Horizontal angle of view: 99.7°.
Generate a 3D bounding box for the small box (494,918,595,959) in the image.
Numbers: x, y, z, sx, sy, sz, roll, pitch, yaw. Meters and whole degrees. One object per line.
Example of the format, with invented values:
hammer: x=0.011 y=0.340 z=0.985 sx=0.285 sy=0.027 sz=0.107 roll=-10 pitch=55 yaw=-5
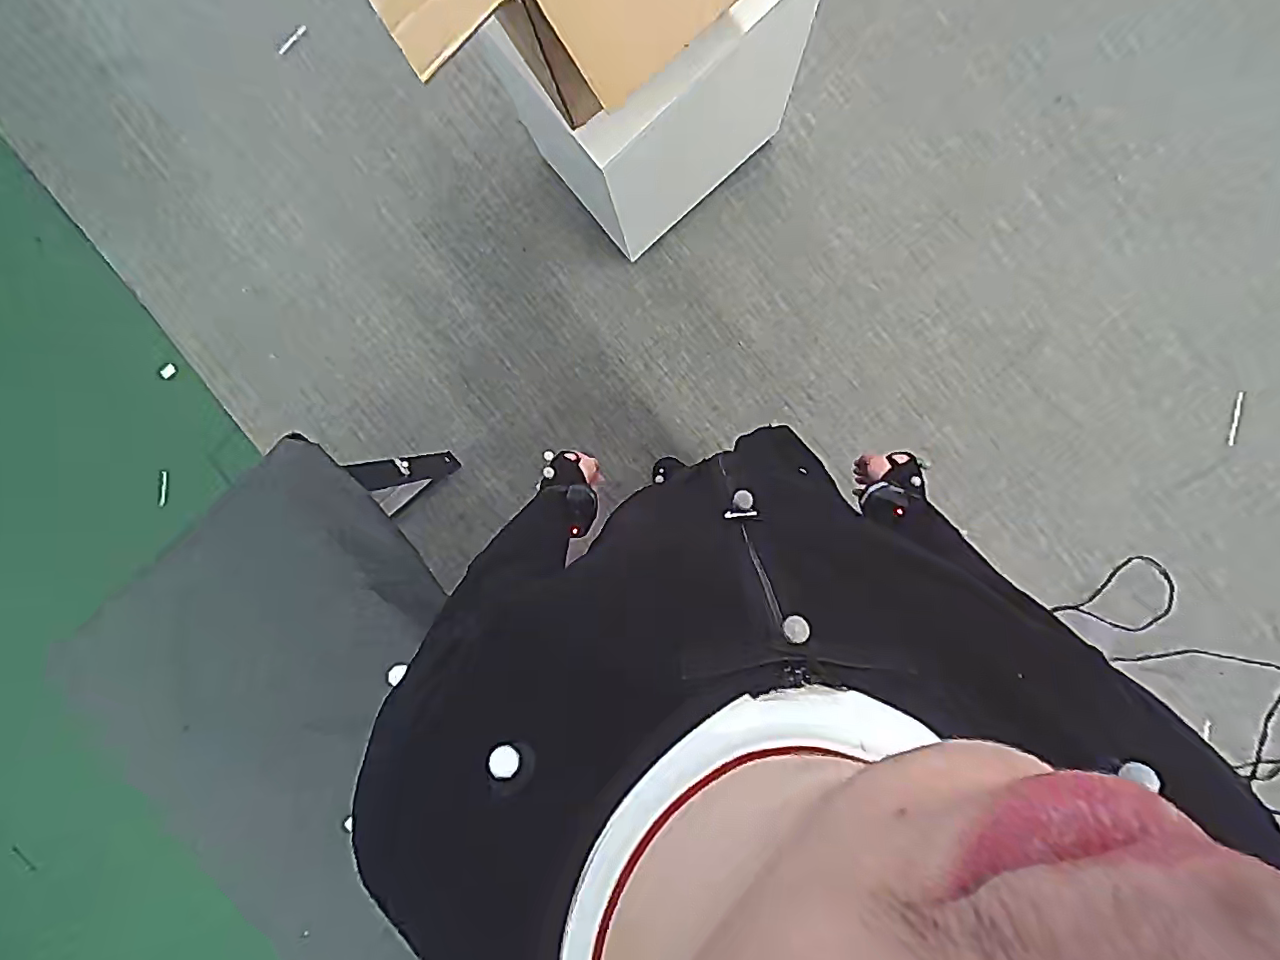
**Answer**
small box: x=-0.162 y=0.877 z=0.878 sx=0.179 sy=0.176 sz=0.168 roll=-38 pitch=92 yaw=9
